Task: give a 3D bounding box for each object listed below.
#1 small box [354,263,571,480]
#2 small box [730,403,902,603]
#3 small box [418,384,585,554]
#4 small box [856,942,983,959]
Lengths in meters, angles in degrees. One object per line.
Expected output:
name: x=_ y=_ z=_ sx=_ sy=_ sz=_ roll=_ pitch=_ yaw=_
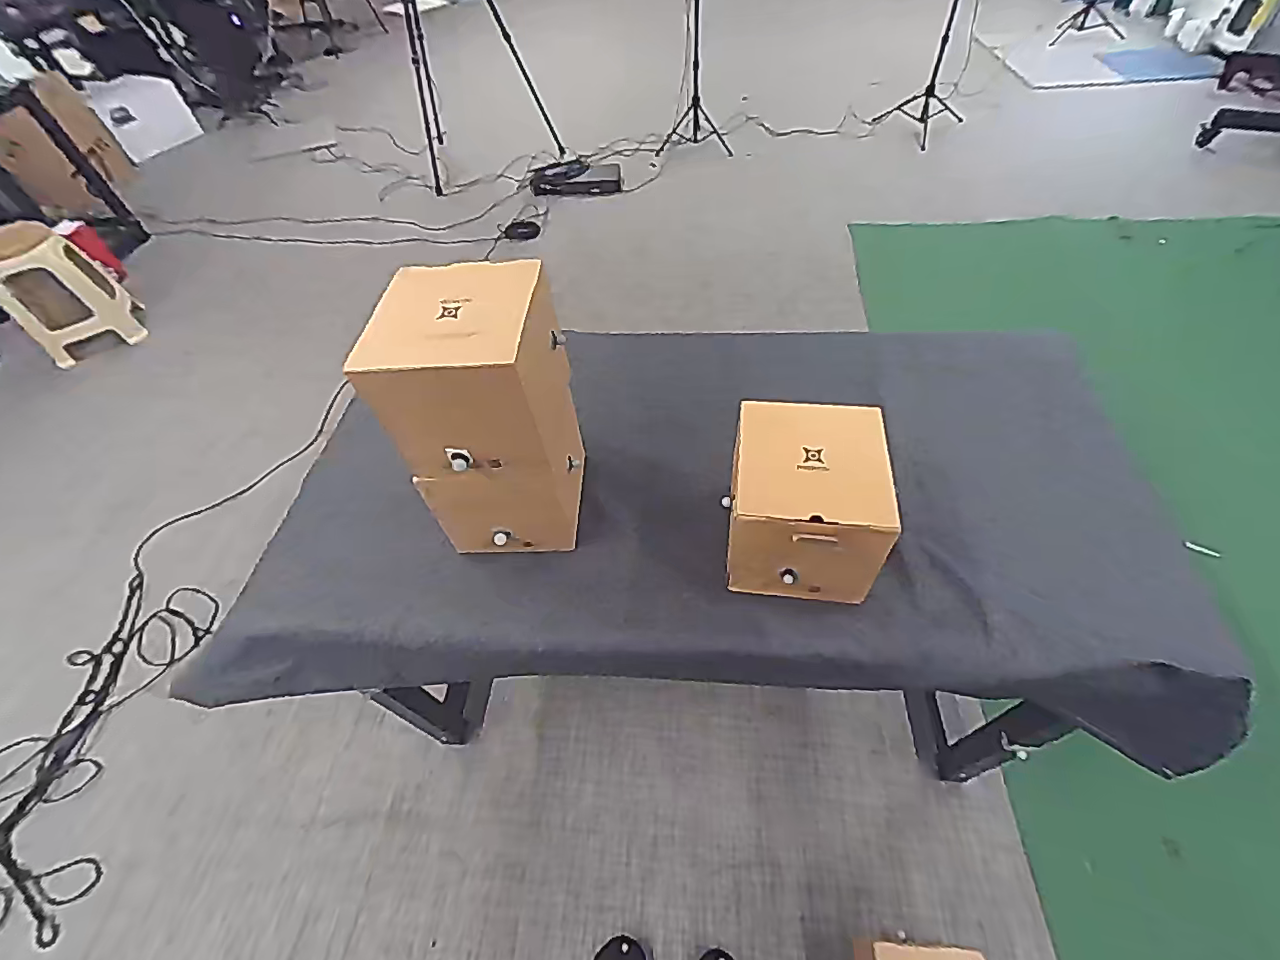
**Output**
small box: x=-0.177 y=-0.118 z=0.607 sx=0.168 sy=0.176 sz=0.179 roll=-2 pitch=52 yaw=5
small box: x=0.200 y=0.028 z=0.667 sx=0.168 sy=0.176 sz=0.179 roll=4 pitch=52 yaw=8
small box: x=-0.171 y=-0.017 z=0.734 sx=0.168 sy=0.176 sz=0.179 roll=-2 pitch=52 yaw=4
small box: x=0.469 y=0.882 z=0.894 sx=0.179 sy=0.176 sz=0.168 roll=0 pitch=50 yaw=6
